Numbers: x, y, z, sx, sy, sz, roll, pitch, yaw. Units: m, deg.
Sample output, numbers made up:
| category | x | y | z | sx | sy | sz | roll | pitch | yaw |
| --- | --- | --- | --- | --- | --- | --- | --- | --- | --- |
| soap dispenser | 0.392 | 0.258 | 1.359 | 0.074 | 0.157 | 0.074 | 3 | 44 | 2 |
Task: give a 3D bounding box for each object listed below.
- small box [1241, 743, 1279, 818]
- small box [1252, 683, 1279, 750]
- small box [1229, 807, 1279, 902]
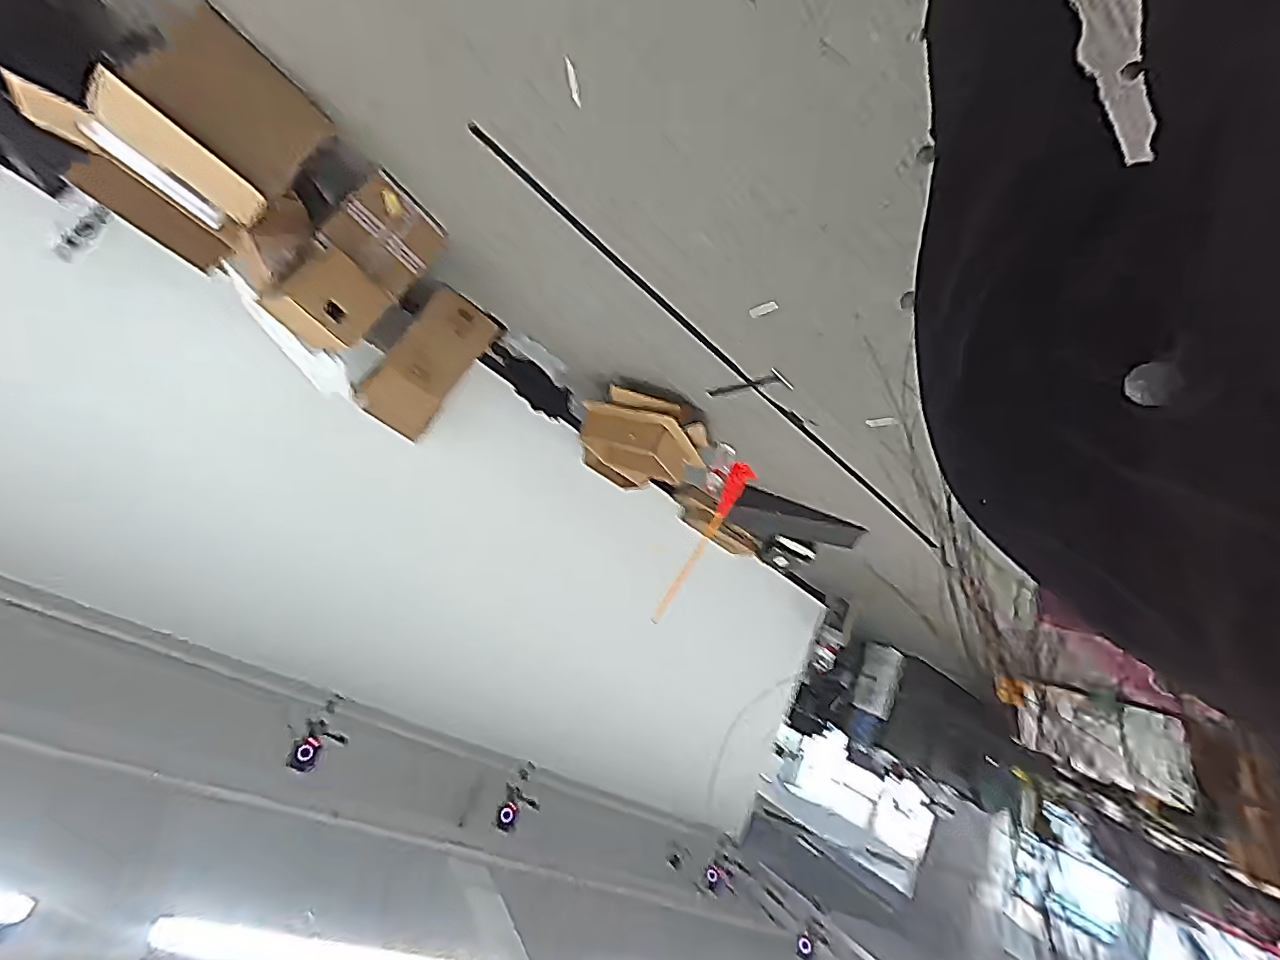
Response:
| category | x | y | z | sx | sy | sz | roll | pitch | yaw |
| --- | --- | --- | --- | --- | --- | --- | --- | --- | --- |
| small box | 1.631 | 0.783 | 1.335 | 0.179 | 0.176 | 0.168 | 37 | 161 | -28 |
| small box | 1.701 | 0.641 | 1.378 | 0.179 | 0.176 | 0.168 | 36 | 162 | -29 |
| small box | 1.544 | 0.910 | 1.281 | 0.179 | 0.176 | 0.168 | 34 | 163 | -25 |
